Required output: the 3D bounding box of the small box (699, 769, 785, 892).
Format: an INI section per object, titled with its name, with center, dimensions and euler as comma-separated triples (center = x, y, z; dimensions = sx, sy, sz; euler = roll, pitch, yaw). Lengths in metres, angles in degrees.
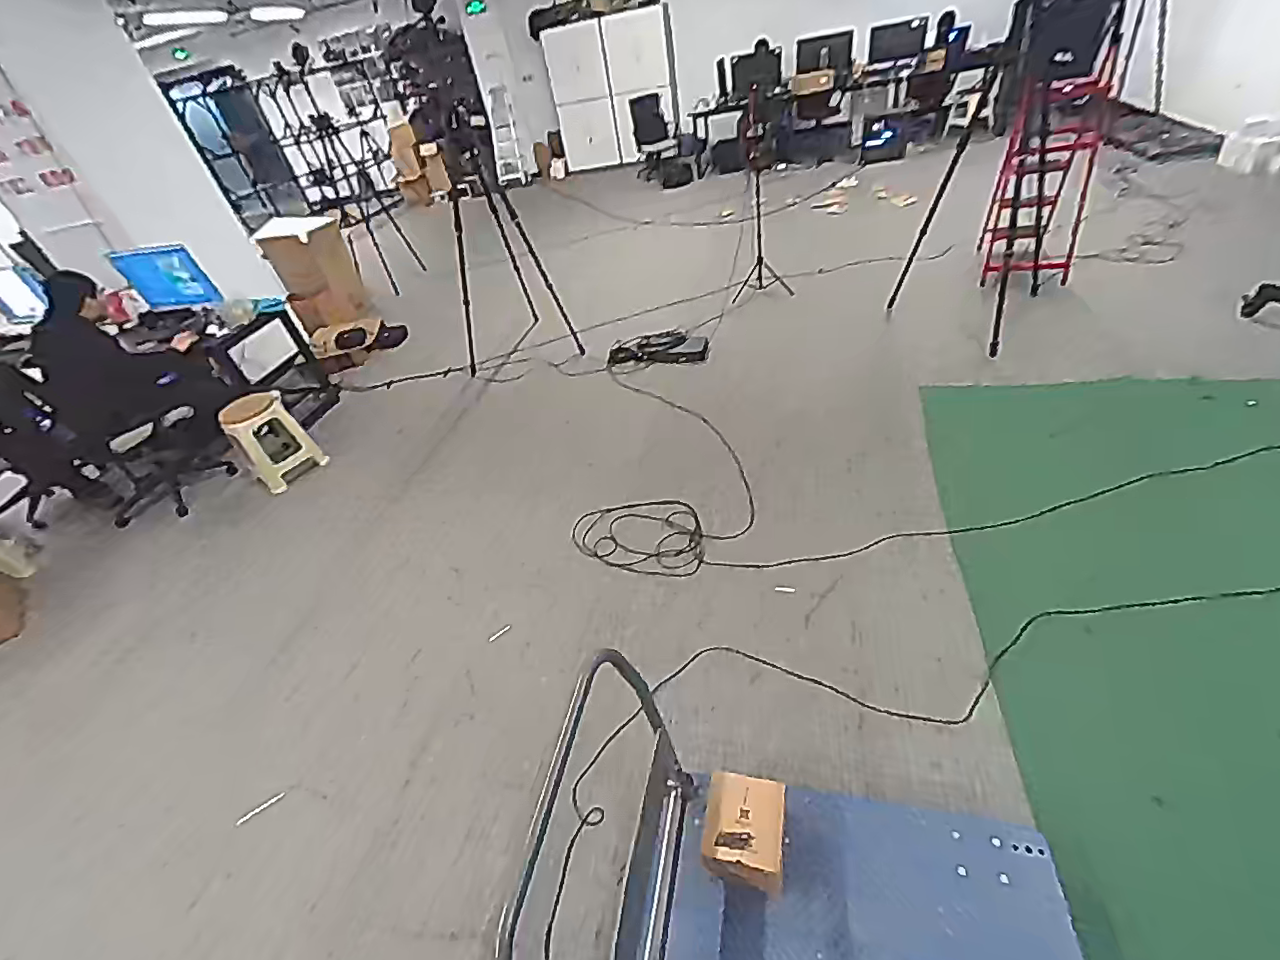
[small box]
center = 0.237, 0.791, 1.216
dimensions = 0.168, 0.176, 0.179
euler = 3, 41, 18
